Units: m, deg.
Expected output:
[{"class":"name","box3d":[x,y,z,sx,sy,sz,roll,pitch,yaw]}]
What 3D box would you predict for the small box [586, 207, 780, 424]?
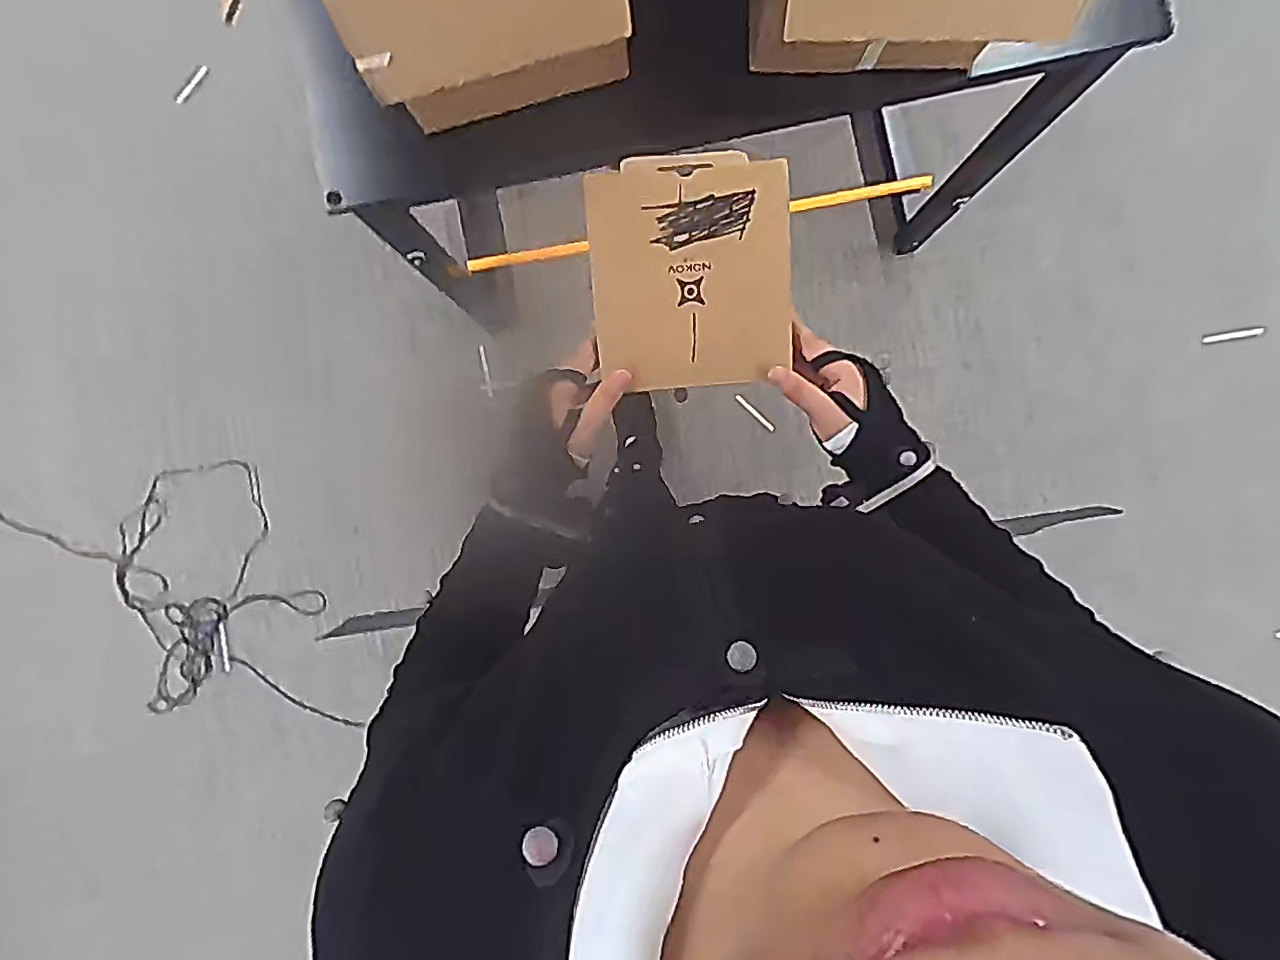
[{"class":"small box","box3d":[0.037,-0.153,0.544,0.168,0.176,0.179,-4,101,0]}]
